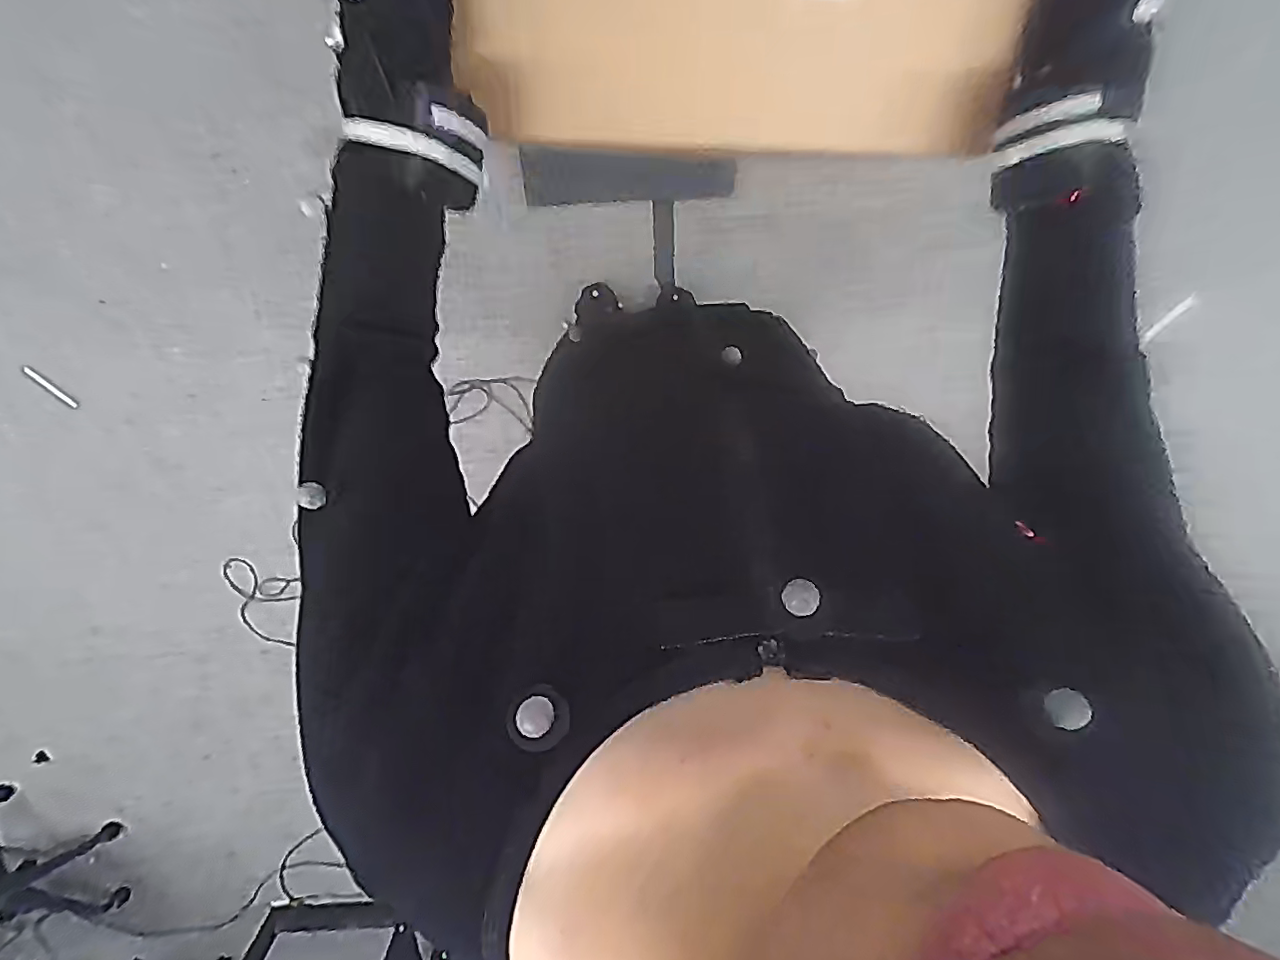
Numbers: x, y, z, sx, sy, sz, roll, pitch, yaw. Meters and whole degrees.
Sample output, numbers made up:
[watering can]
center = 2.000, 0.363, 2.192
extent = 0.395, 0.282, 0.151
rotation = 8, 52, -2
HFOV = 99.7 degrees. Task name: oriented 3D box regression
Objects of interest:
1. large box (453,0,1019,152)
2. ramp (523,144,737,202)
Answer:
[large box]
center = 0.066, -0.472, 0.469
extent = 0.408, 0.320, 0.320
rotation = 1, 120, -1
[ramp]
center = -0.042, -1.101, 1.028
extent = 0.509, 0.206, 0.991
rotation = -5, 111, 0
